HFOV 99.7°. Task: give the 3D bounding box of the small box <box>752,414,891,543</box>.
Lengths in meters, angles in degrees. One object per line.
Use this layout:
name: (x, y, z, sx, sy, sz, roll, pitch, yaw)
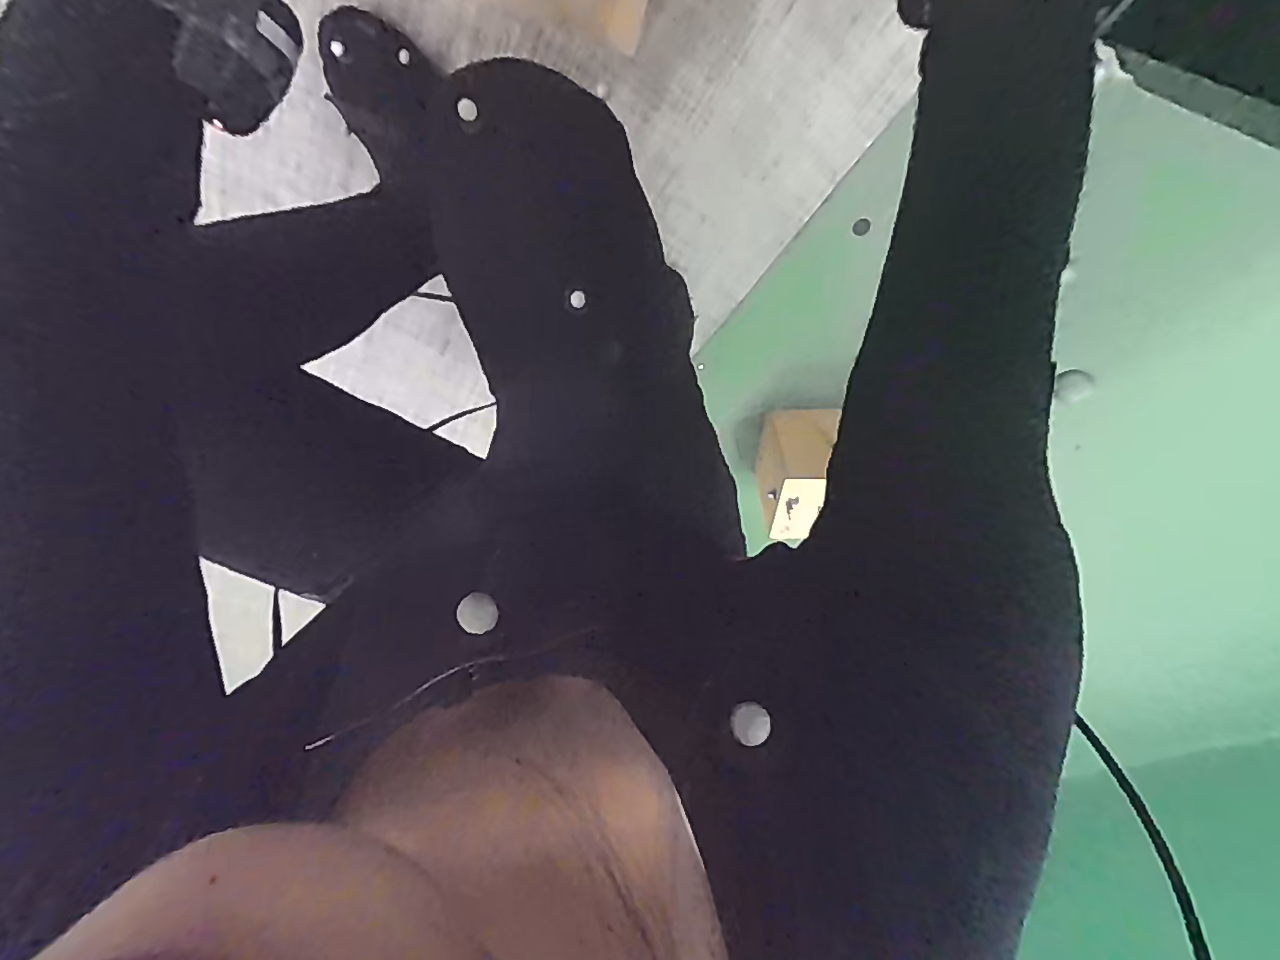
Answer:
small box: (0.308, -0.005, 0.960, 0.179, 0.176, 0.168, -1, 139, 0)
